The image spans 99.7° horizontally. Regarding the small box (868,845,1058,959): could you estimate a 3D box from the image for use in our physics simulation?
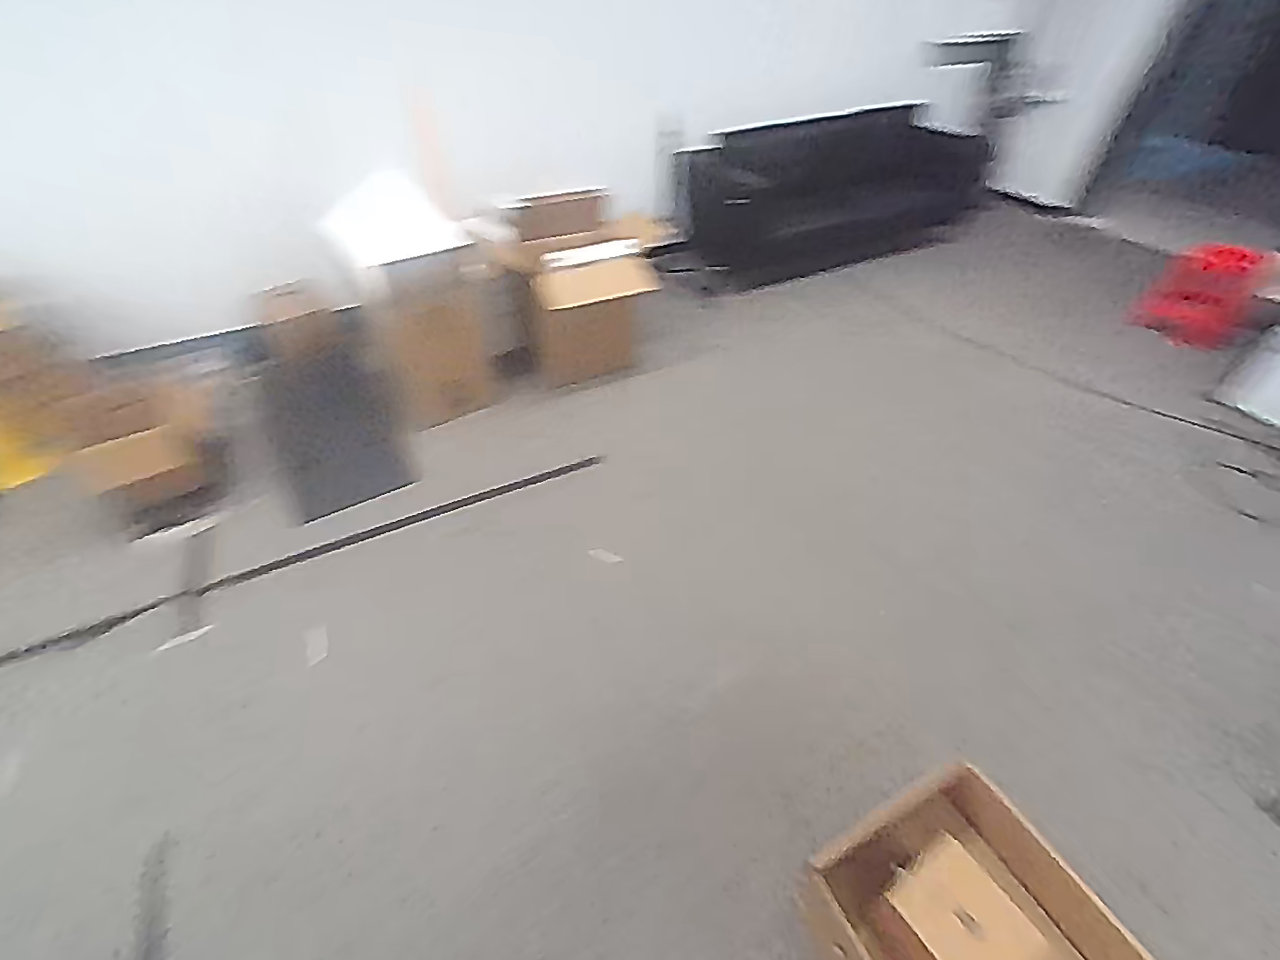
[{"bbox_3d":[0.511,0.748,0.881,0.168,0.176,0.179,-22,46,-22],"label":"small box"}]
